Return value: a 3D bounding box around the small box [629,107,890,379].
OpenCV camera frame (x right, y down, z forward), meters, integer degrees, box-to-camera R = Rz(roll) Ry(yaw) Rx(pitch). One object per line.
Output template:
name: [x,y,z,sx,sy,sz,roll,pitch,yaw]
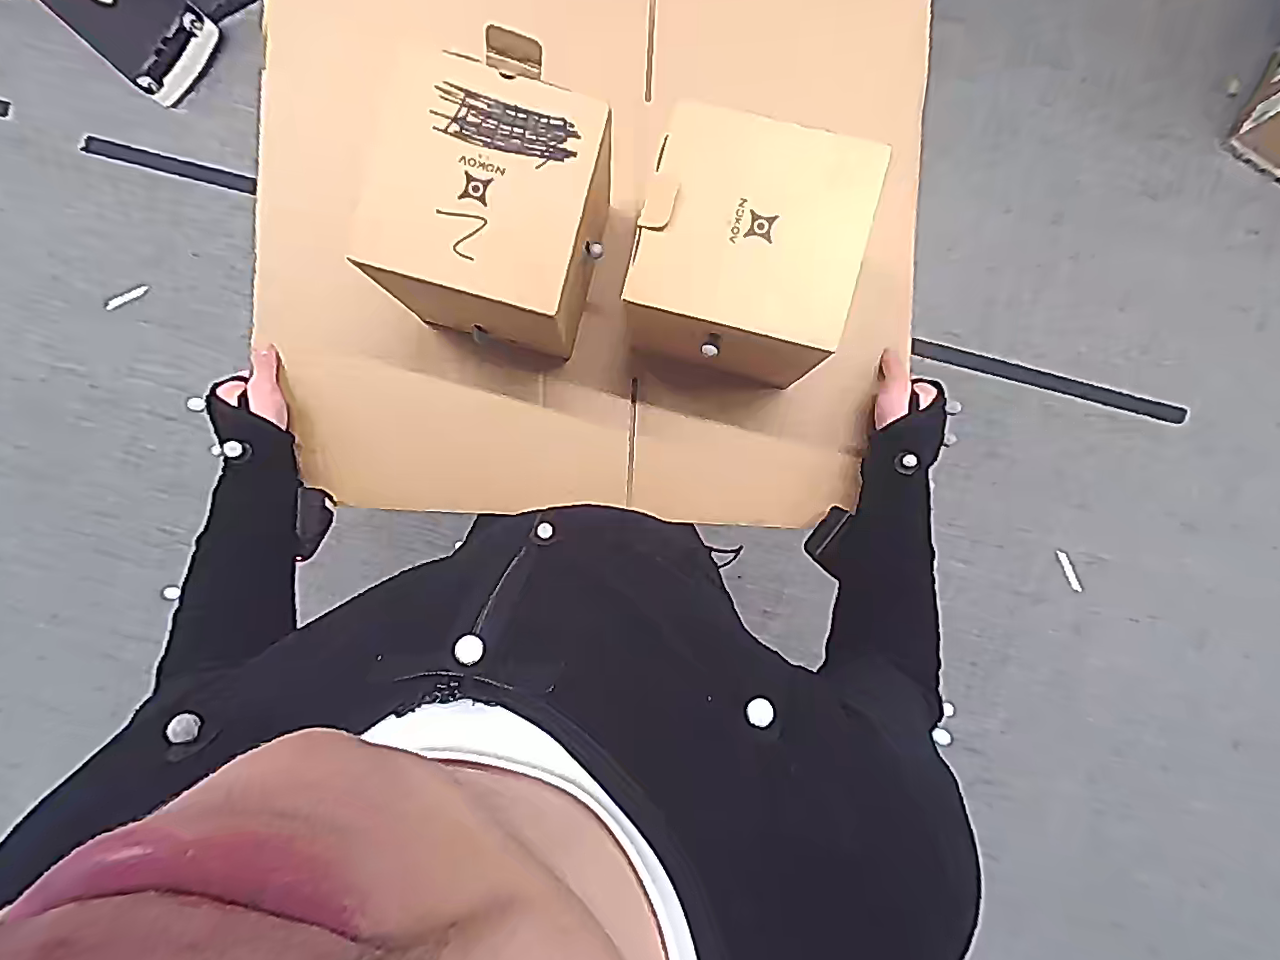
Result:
small box: [0.100,-0.202,0.514,0.179,0.176,0.168,15,91,4]
